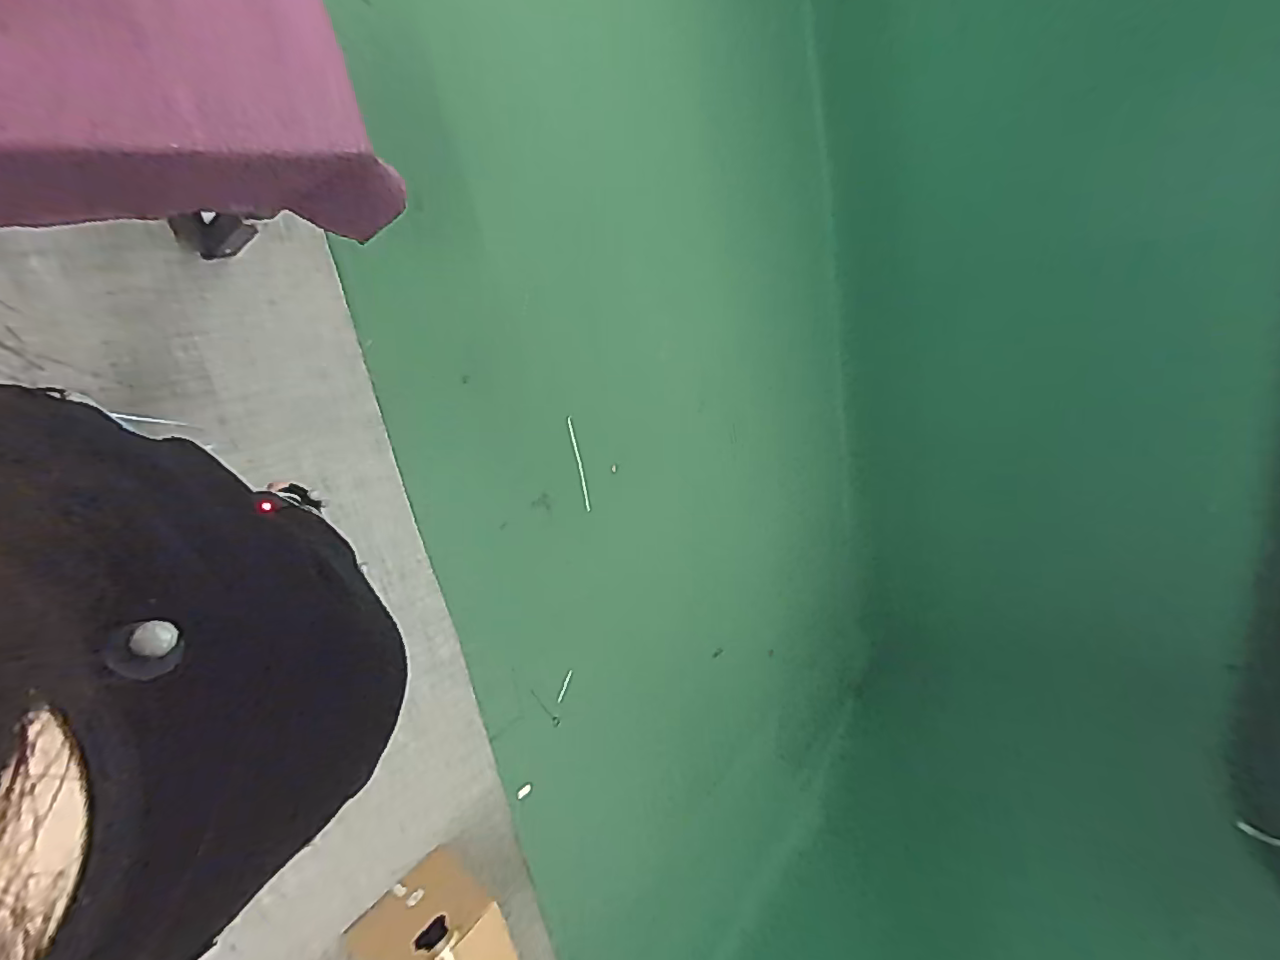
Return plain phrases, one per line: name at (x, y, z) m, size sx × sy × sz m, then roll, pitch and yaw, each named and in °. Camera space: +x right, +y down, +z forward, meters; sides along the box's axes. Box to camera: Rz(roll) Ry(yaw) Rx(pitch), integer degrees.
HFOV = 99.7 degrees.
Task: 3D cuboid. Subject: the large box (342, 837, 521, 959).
large box at (-0.596, 1.371, 1.582) m, size 0.320 × 0.320 × 0.408 m, roll -29°, pitch 116°, yaw -43°
